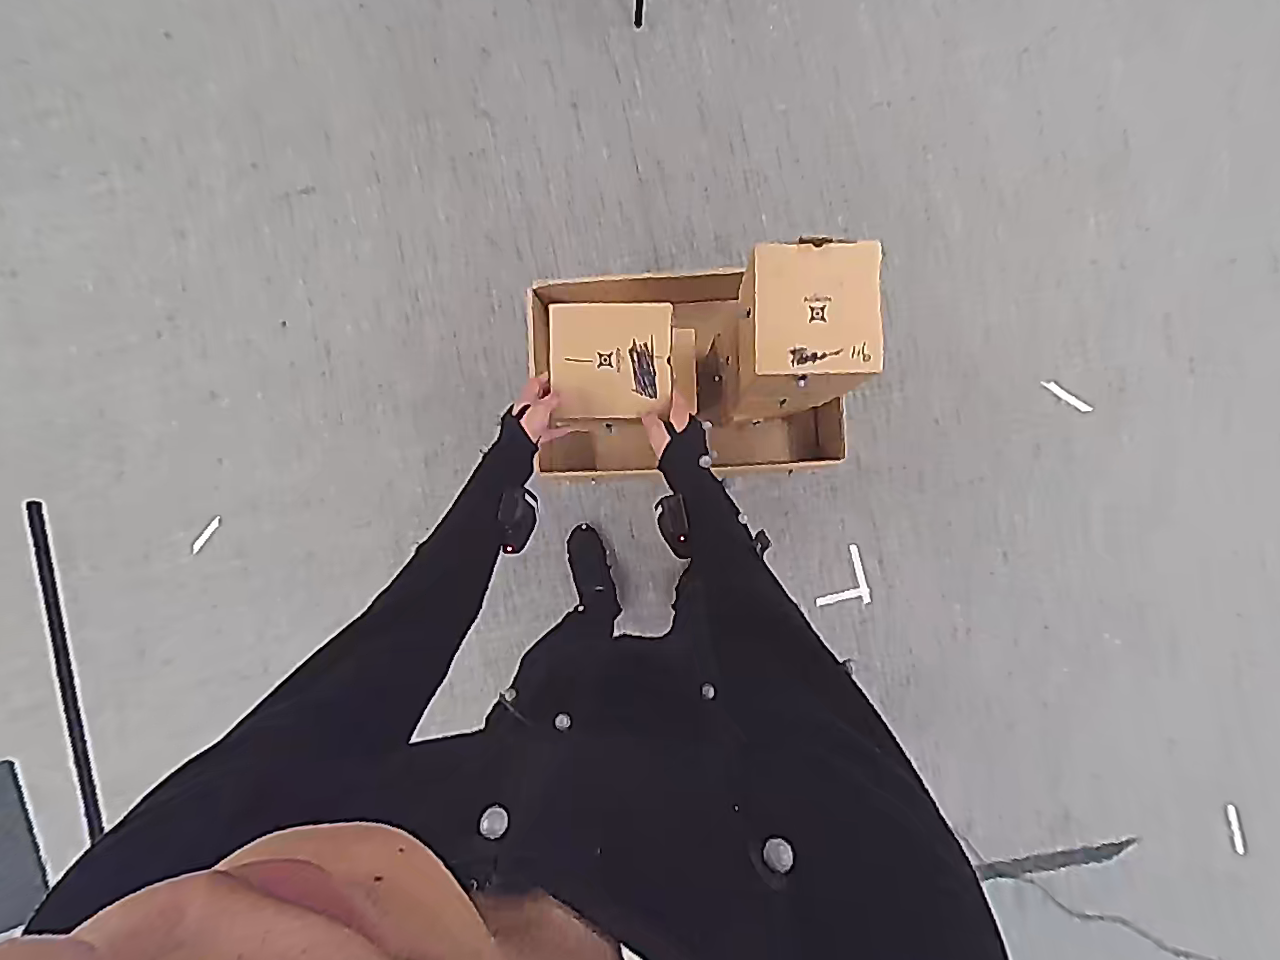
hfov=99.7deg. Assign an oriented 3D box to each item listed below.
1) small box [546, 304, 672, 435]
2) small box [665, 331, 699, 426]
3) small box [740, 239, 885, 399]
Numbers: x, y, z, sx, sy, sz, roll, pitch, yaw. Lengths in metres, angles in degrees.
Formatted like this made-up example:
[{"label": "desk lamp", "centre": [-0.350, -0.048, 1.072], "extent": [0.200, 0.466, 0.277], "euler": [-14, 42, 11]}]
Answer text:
[{"label": "small box", "centre": [-0.044, -0.161, 0.829], "extent": [0.179, 0.176, 0.168], "euler": [0, 89, 0]}, {"label": "small box", "centre": [0.024, -0.202, 1.109], "extent": [0.179, 0.176, 0.168], "euler": [-1, 89, 2]}, {"label": "small box", "centre": [0.234, -0.219, 0.772], "extent": [0.168, 0.176, 0.179], "euler": [0, 88, 4]}]
